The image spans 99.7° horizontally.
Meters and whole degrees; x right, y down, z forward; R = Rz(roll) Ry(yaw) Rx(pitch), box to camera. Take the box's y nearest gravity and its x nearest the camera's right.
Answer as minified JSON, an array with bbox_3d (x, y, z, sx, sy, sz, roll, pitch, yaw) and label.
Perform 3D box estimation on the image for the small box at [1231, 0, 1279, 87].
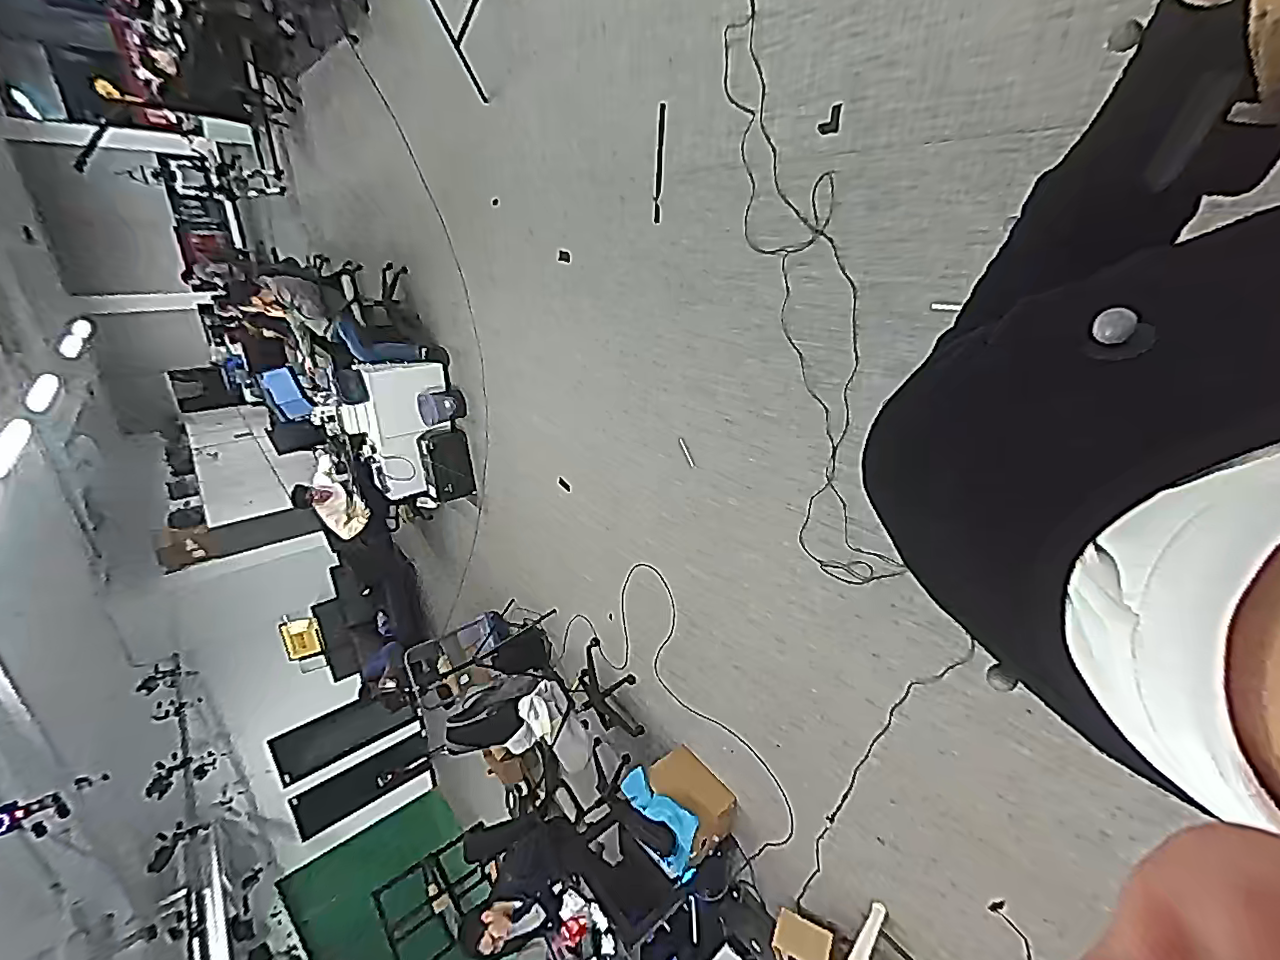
[{"bbox_3d":[0.287,-0.236,0.140,0.168,0.176,0.179,5,108,49],"label":"small box"}]
